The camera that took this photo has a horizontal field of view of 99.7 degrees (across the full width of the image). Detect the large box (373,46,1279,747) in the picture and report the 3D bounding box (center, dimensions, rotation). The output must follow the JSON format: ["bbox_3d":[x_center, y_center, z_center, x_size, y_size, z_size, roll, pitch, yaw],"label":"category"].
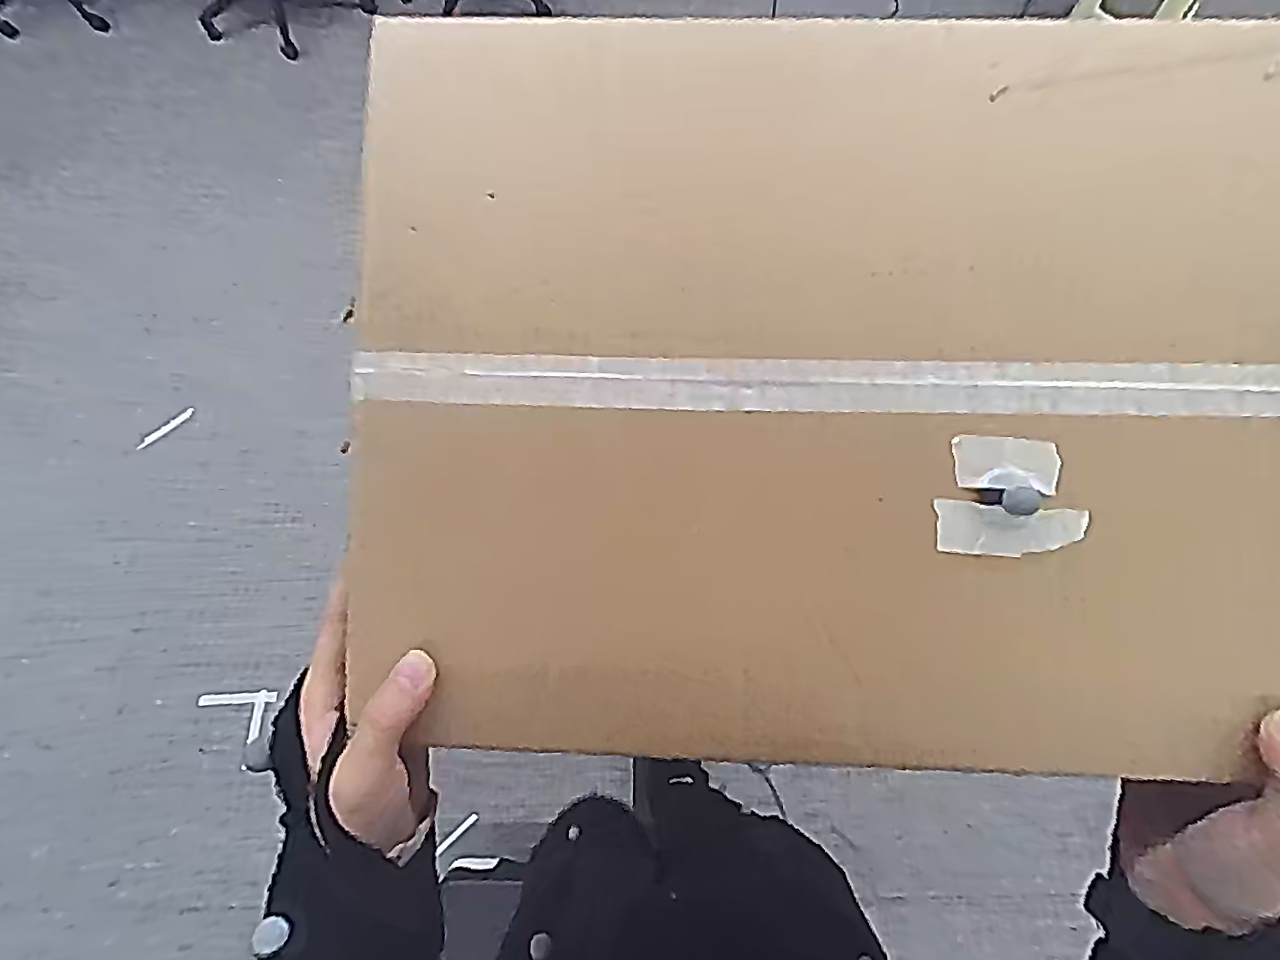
[{"bbox_3d":[0.083,-0.035,0.385,0.408,0.320,0.320,1,89,1],"label":"large box"}]
